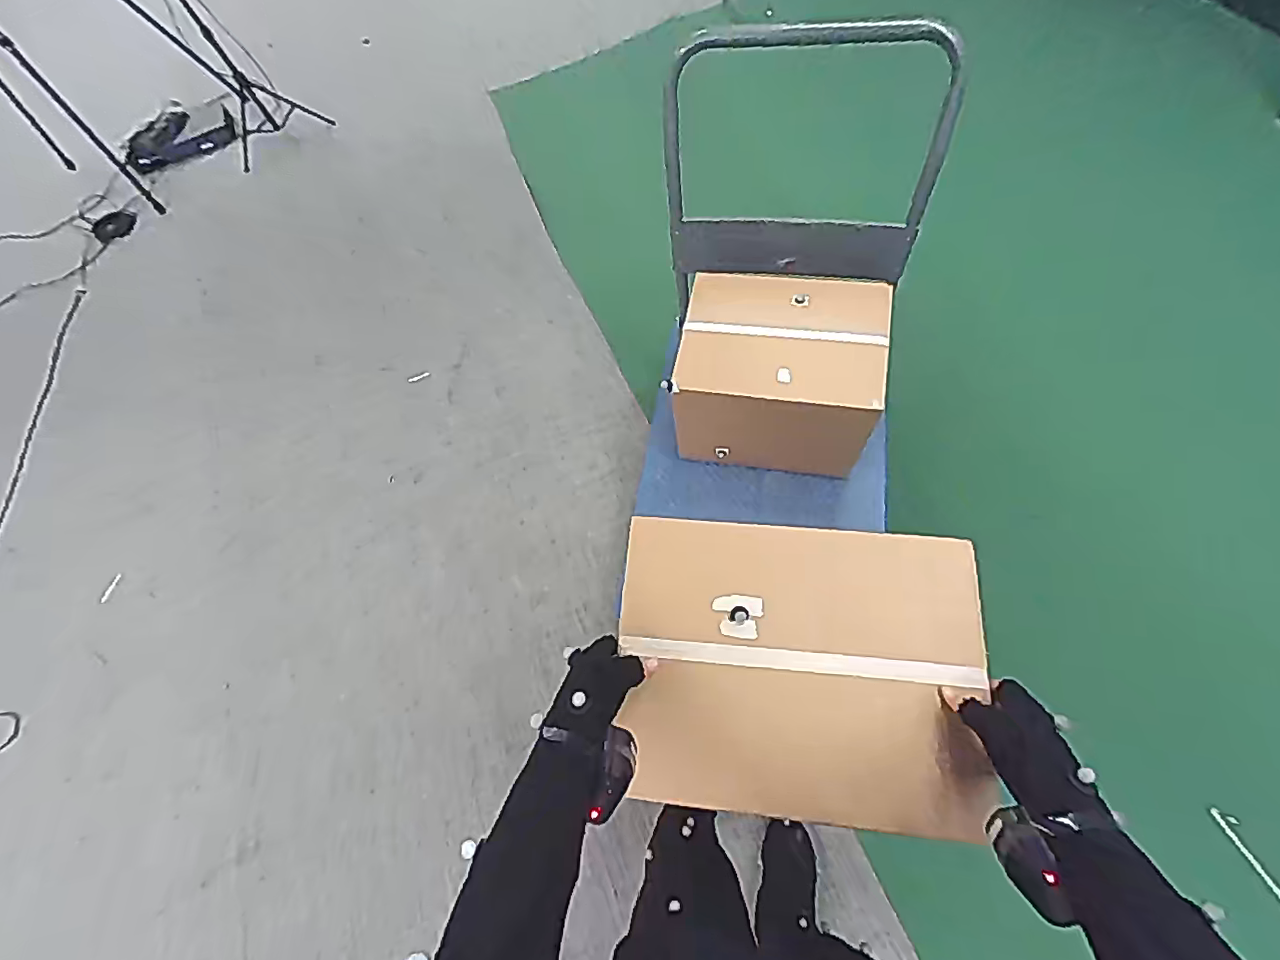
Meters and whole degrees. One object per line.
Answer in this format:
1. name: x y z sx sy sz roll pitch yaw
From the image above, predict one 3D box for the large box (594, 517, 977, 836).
1. large box: 0.176 0.246 0.752 0.408 0.320 0.320 4 72 8
